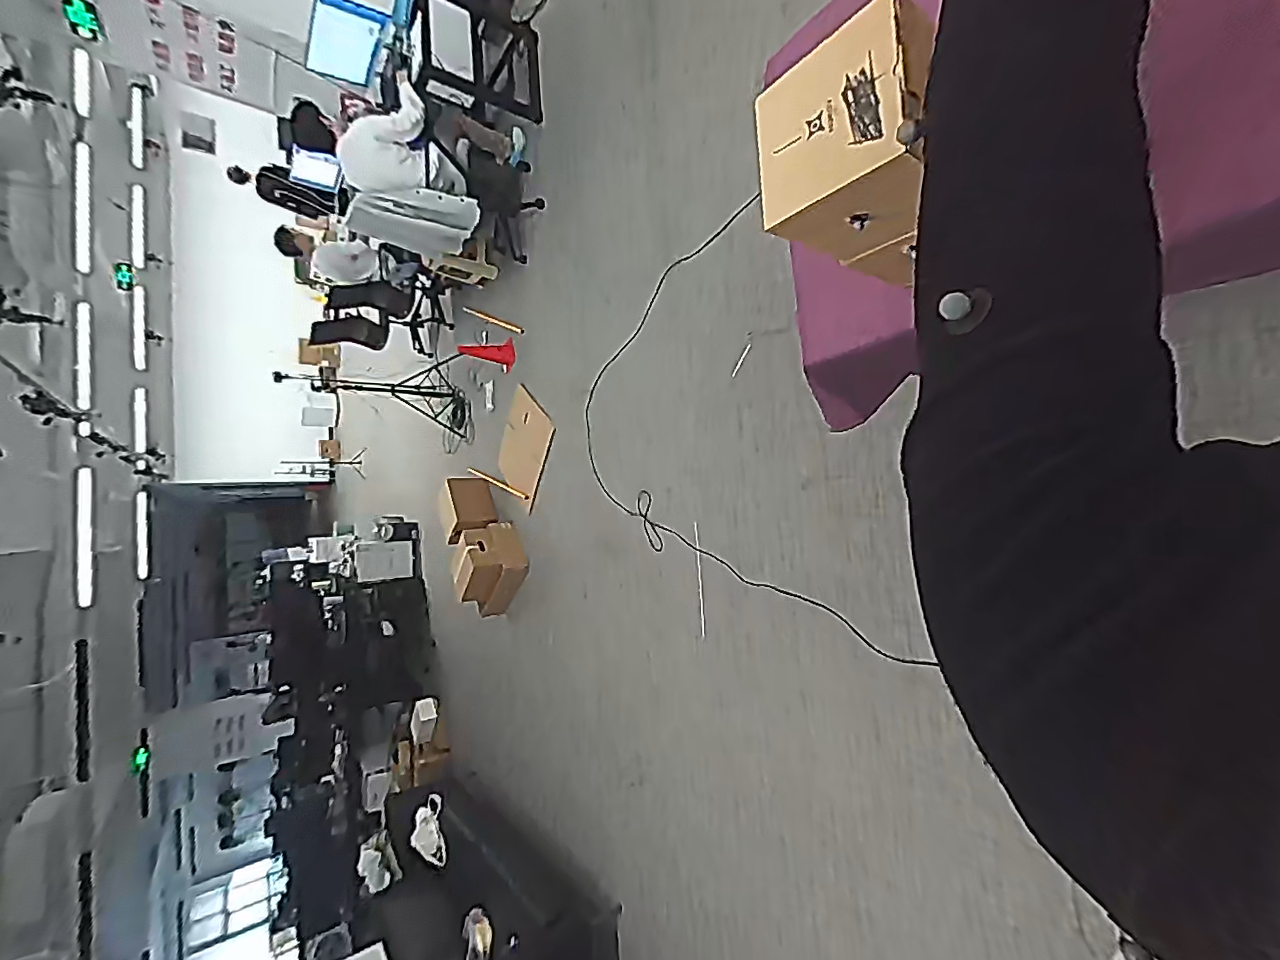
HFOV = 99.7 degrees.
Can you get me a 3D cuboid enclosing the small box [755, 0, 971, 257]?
[{"bbox_3d":[0.261,-0.385,0.630,0.179,0.176,0.168,-8,85,54],"label":"small box"}]
